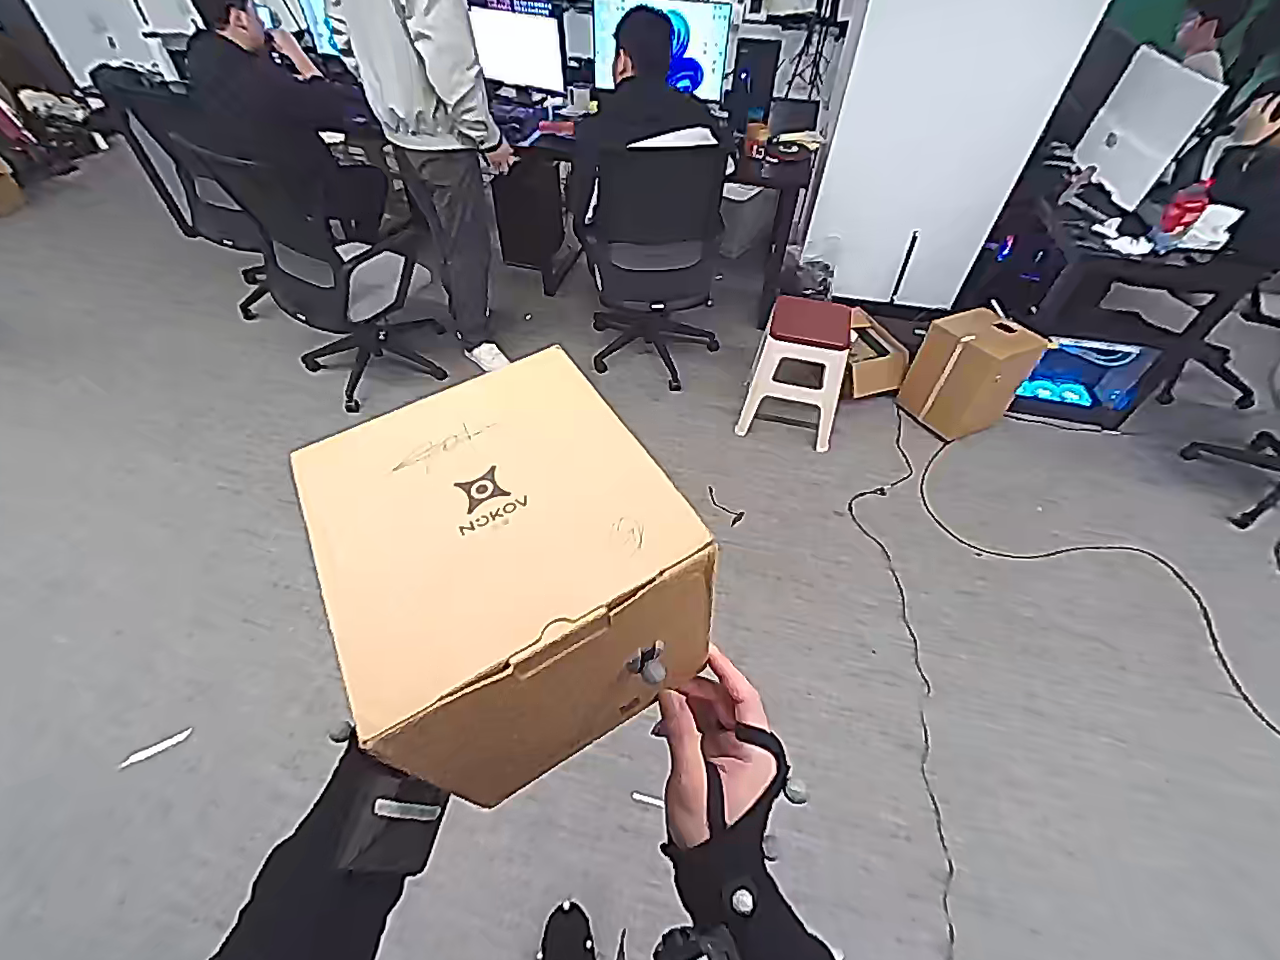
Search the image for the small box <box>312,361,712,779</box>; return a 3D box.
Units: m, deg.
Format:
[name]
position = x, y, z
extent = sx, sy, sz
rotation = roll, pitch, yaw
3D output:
[small box]
position = -0.070, 0.062, 0.347
extent = 0.168, 0.176, 0.179
rotation = -27, 54, -17
